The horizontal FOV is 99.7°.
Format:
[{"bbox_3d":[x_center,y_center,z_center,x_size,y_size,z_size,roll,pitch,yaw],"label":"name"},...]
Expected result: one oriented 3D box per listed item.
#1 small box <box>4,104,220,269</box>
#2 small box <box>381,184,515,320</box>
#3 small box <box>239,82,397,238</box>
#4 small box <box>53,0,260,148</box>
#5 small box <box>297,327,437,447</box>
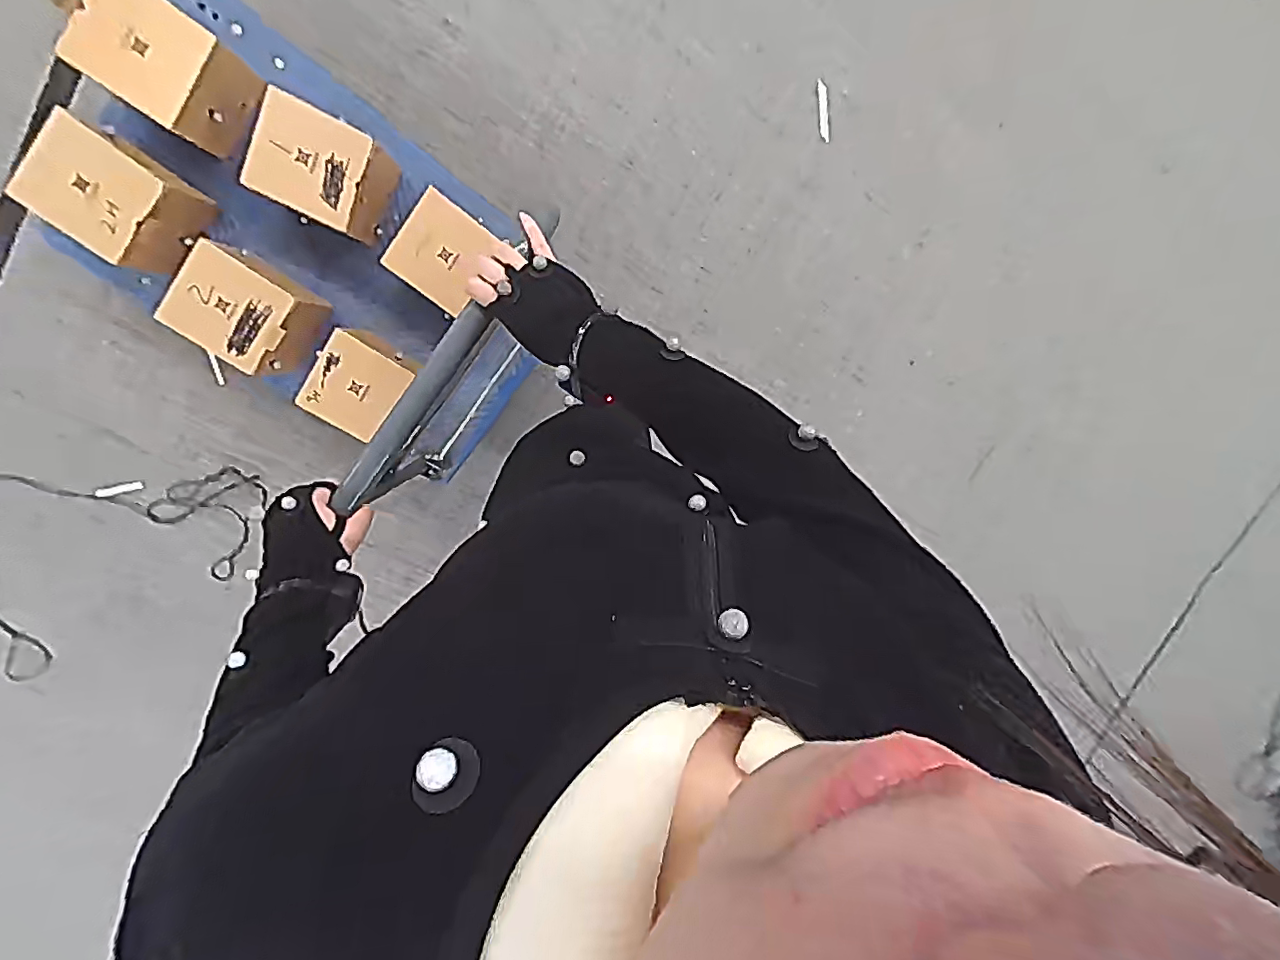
[{"bbox_3d":[-0.905,-0.494,0.946,0.179,0.176,0.168,37,96,-17],"label":"small box"},{"bbox_3d":[-0.361,-0.432,1.057,0.179,0.176,0.168,36,95,-16],"label":"small box"},{"bbox_3d":[-0.571,-0.564,0.986,0.179,0.176,0.168,23,99,-14],"label":"small box"},{"bbox_3d":[-0.796,-0.700,0.914,0.179,0.176,0.168,32,97,-15],"label":"small box"},{"bbox_3d":[-0.534,-0.191,1.087,0.179,0.176,0.168,32,96,-16],"label":"small box"}]
